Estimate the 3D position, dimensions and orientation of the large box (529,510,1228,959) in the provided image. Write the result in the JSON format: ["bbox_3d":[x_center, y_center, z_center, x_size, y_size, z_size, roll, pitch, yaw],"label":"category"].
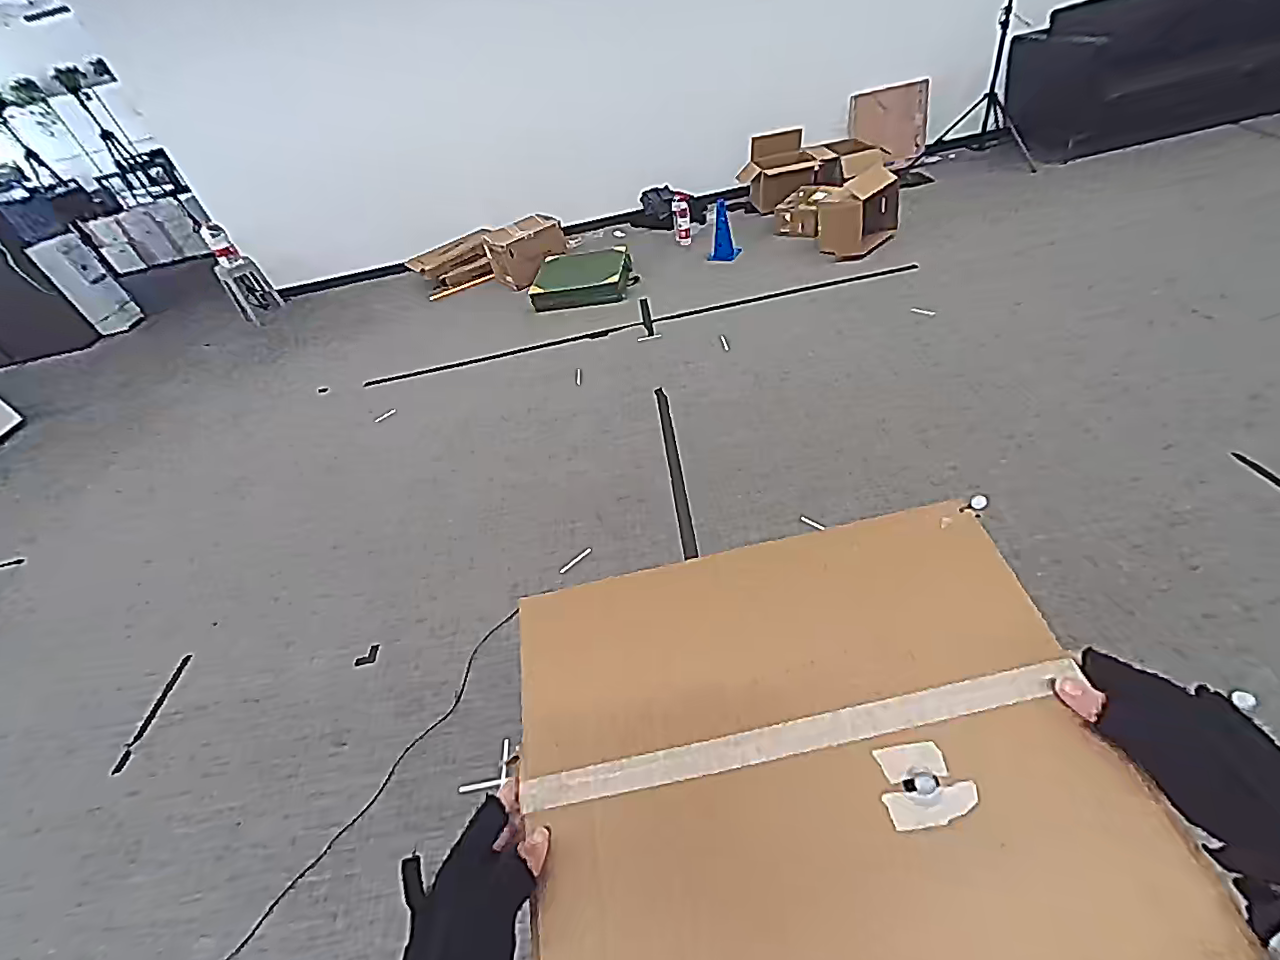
[{"bbox_3d":[0.140,0.280,0.516,0.408,0.320,0.320,-14,53,1],"label":"large box"}]
